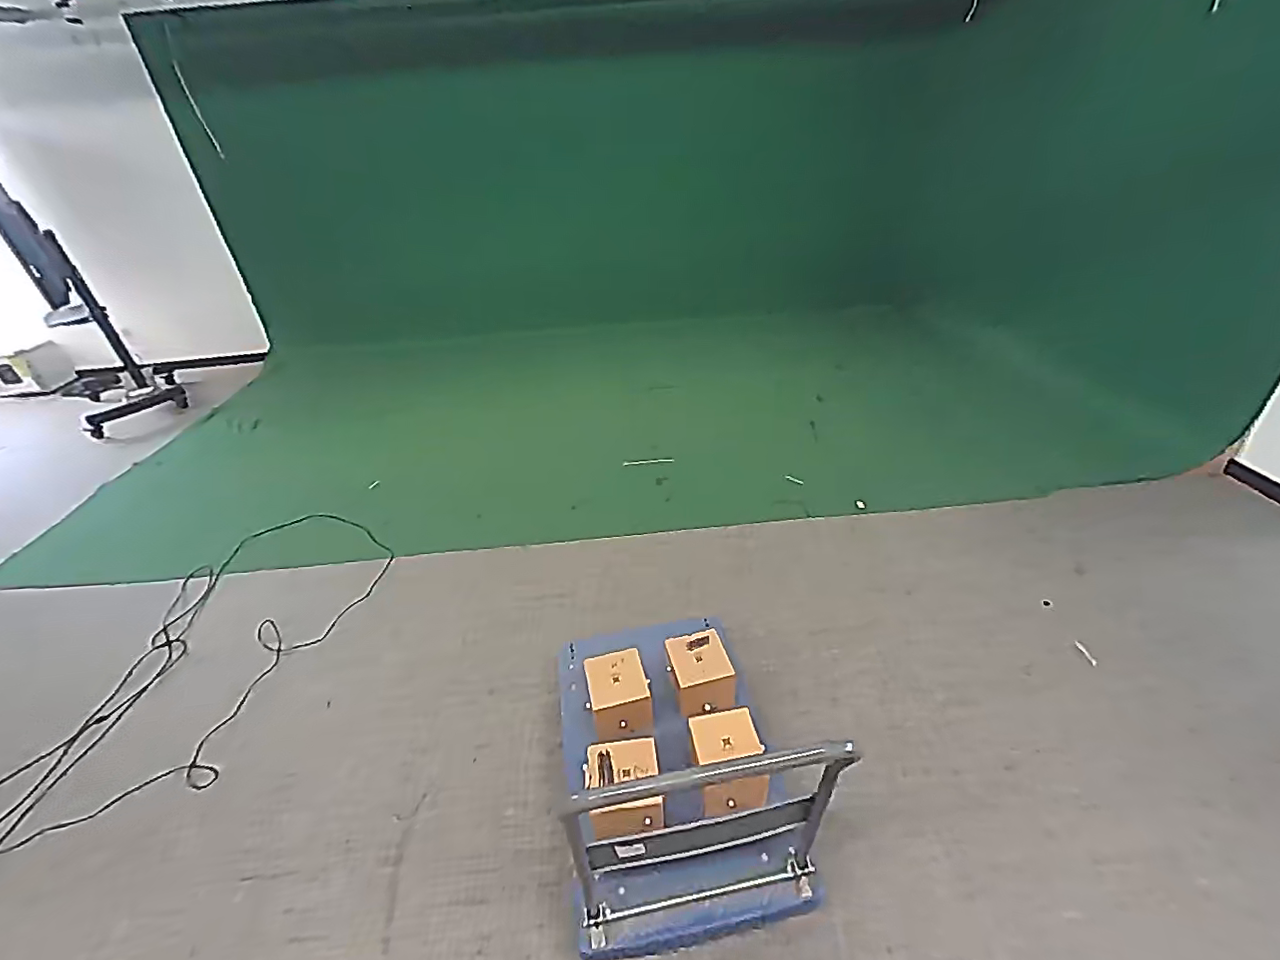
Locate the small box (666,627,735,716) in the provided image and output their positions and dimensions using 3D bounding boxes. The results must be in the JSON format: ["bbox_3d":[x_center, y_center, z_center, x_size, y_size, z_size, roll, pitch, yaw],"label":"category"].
[{"bbox_3d":[0.179,0.581,1.643,0.168,0.176,0.179,-11,36,-8],"label":"small box"}]

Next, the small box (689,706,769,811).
[{"bbox_3d":[0.226,0.732,1.424,0.168,0.176,0.179,-8,35,-5],"label":"small box"}]

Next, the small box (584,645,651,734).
[{"bbox_3d":[-0.065,0.628,1.602,0.168,0.176,0.179,-10,35,-9],"label":"small box"}]
